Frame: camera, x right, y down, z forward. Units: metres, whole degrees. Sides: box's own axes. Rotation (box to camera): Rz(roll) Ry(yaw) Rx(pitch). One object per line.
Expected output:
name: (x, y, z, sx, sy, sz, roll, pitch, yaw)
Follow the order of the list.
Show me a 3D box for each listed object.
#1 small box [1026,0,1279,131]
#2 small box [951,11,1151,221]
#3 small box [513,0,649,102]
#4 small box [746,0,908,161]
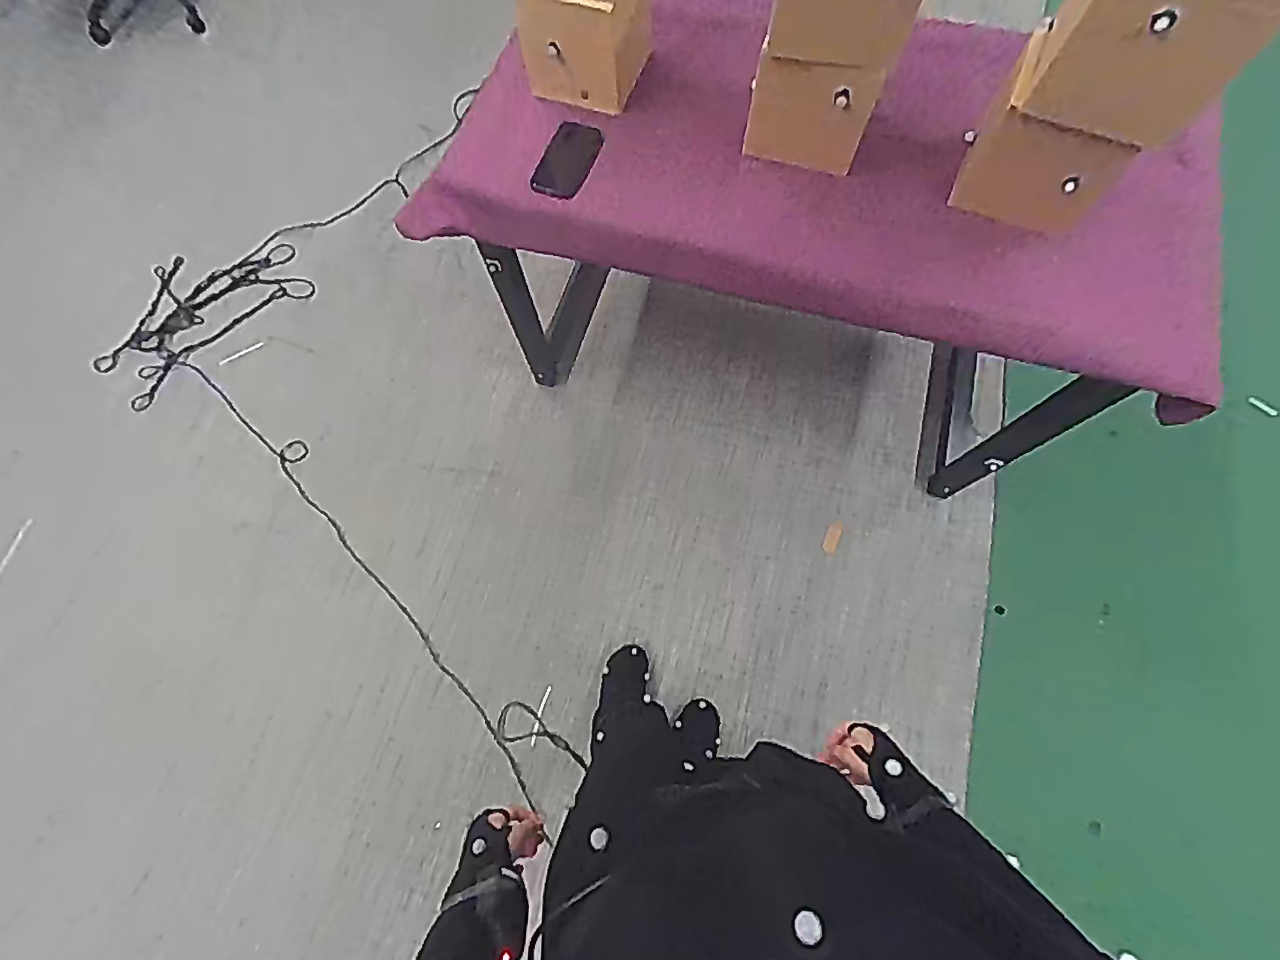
small box: (0.592, -0.545, 0.619, 0.179, 0.176, 0.168, 24, 74, 8)
small box: (0.594, -0.511, 0.780, 0.179, 0.176, 0.168, 24, 74, 10)
small box: (-0.085, -0.764, 0.881, 0.168, 0.176, 0.179, 18, 74, 7)
small box: (0.277, -0.628, 0.825, 0.179, 0.176, 0.168, 18, 74, 7)
